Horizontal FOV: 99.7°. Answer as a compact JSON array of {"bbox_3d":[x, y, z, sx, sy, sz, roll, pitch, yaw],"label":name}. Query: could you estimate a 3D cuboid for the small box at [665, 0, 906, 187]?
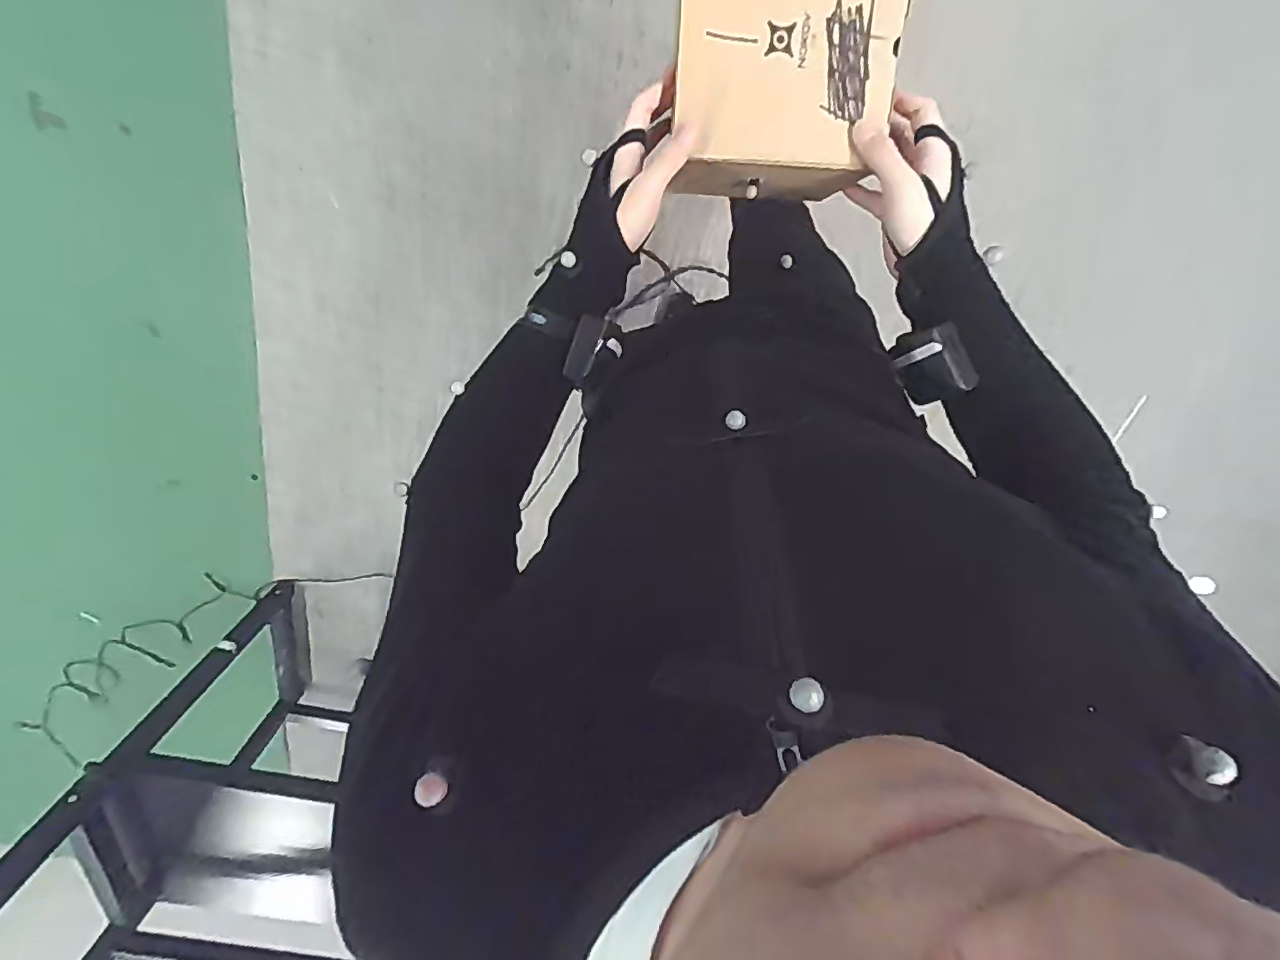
[{"bbox_3d":[0.117,-0.376,0.493,0.179,0.176,0.168,3,109,1],"label":"small box"}]
